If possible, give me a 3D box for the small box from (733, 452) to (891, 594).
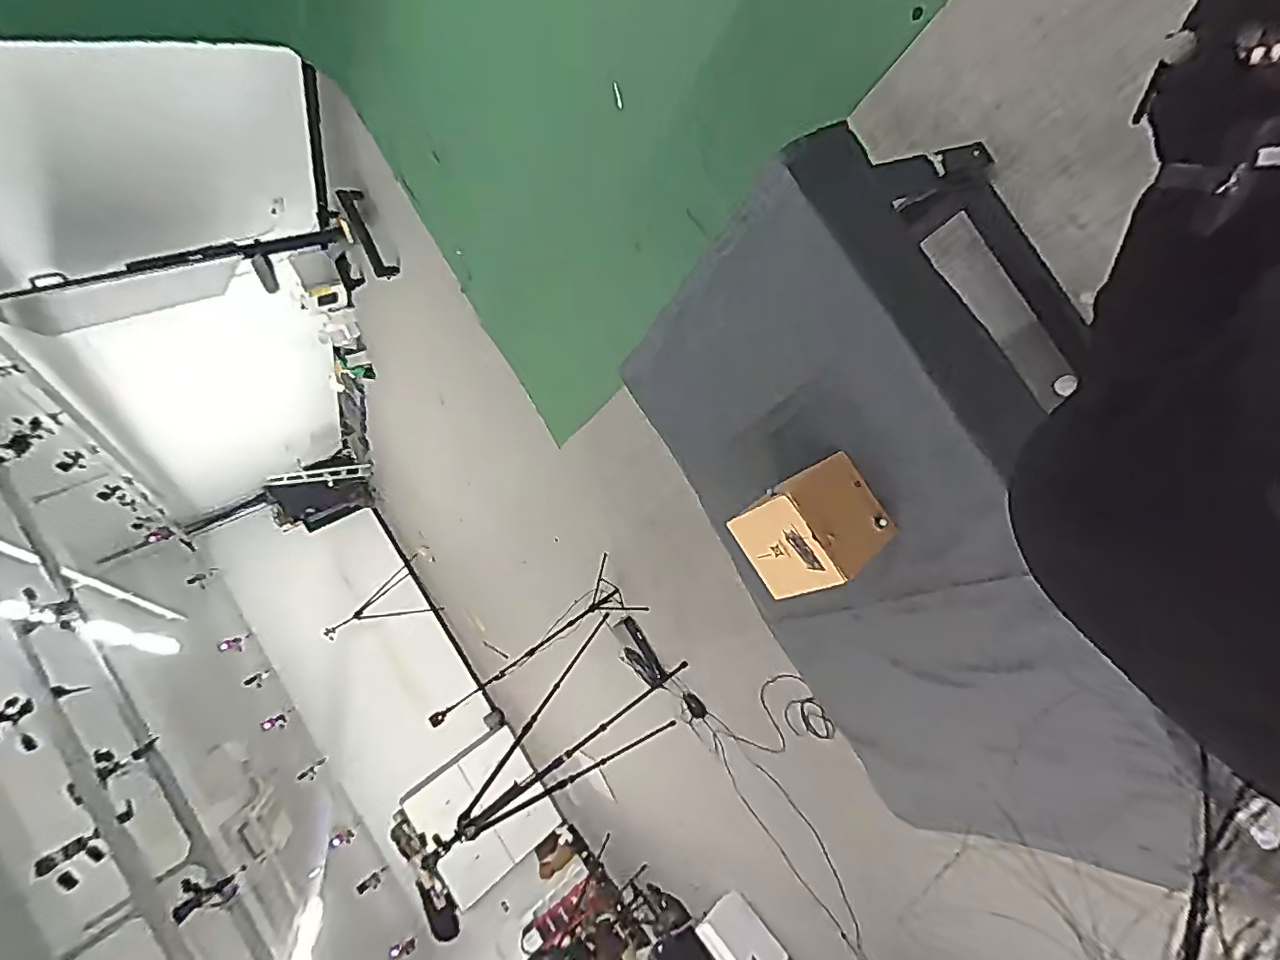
[{"bbox_3d":[0.305,0.075,0.945,0.168,0.176,0.179,57,149,4],"label":"small box"}]
